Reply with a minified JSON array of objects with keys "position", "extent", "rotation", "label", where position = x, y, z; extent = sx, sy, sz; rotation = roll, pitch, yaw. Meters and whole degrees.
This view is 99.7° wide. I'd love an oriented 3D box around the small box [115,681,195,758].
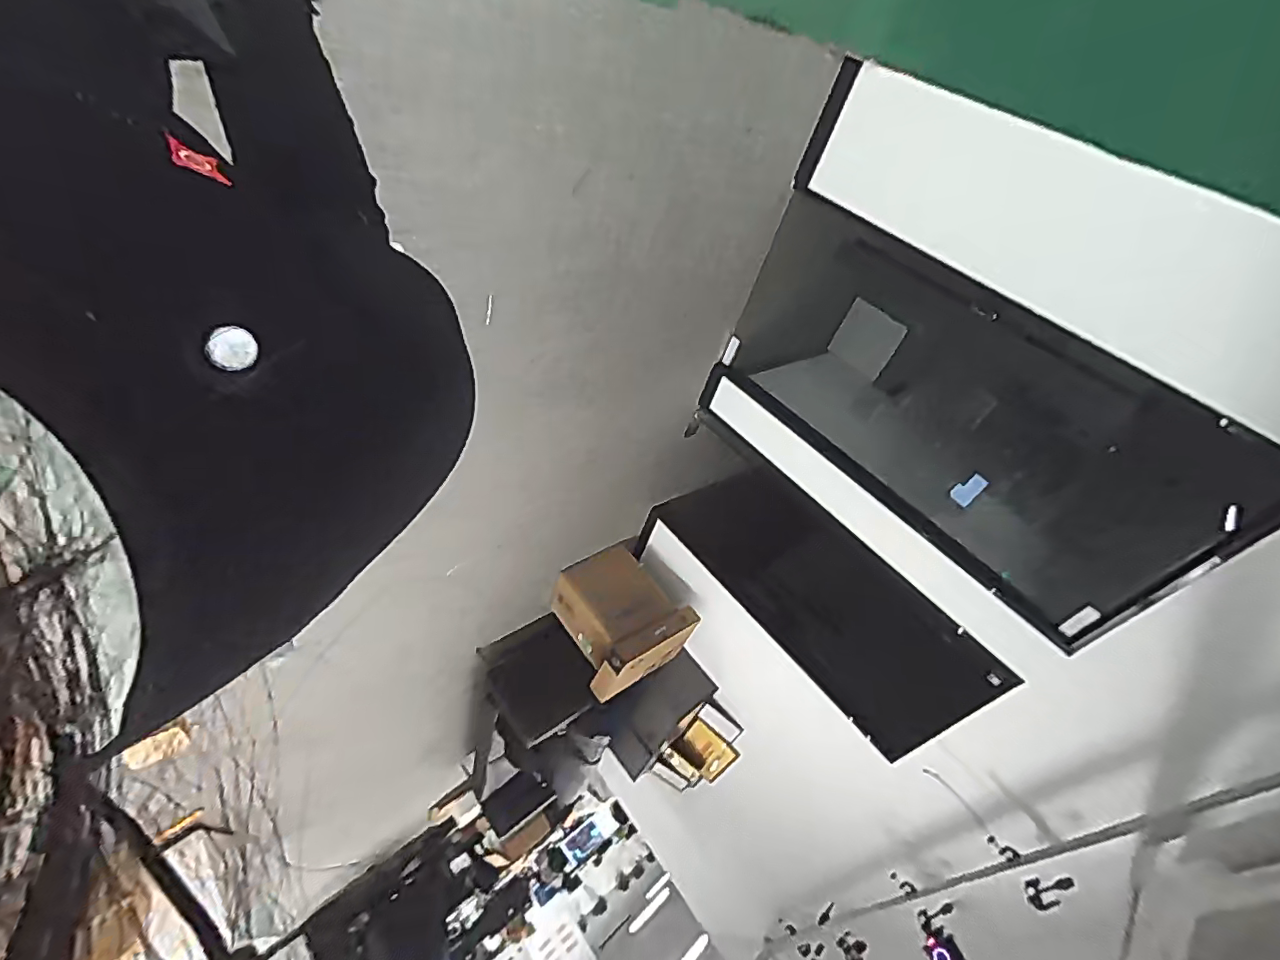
[{"position":[-1.775,0.874,1.980],"extent":[0.168,0.176,0.179],"rotation":[-23,148,-37],"label":"small box"}]
